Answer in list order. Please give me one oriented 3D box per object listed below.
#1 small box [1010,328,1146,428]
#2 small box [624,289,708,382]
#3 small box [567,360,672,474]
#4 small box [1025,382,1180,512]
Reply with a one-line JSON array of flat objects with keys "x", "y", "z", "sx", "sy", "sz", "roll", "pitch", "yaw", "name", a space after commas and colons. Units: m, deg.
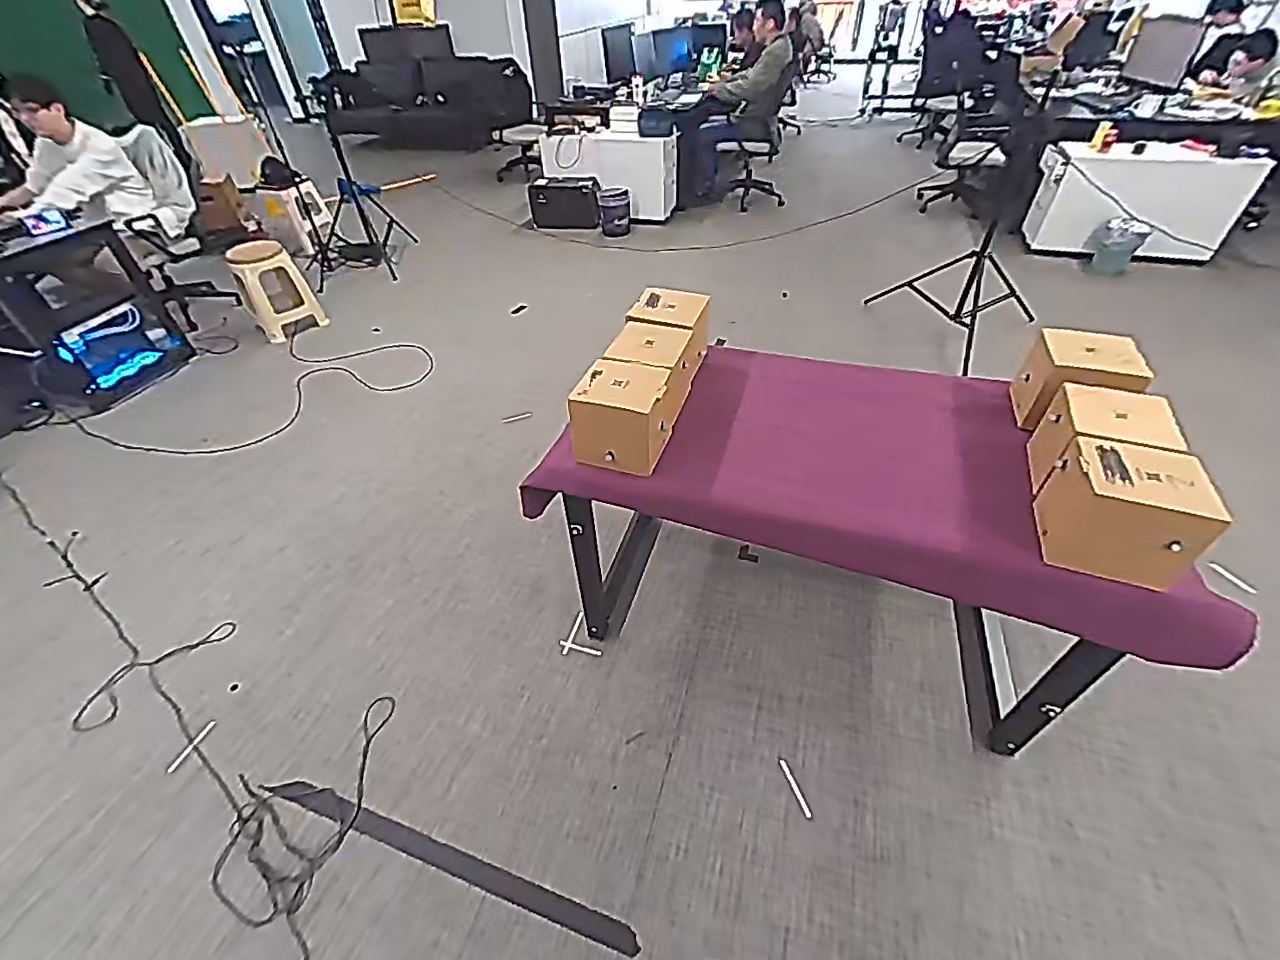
[{"x": 0.952, "y": -0.215, "z": 1.201, "sx": 0.179, "sy": 0.176, "sz": 0.168, "roll": 13, "pitch": 46, "yaw": 15, "name": "small box"}, {"x": 0.070, "y": -0.377, "z": 1.419, "sx": 0.179, "sy": 0.176, "sz": 0.168, "roll": 14, "pitch": 48, "yaw": 15, "name": "small box"}, {"x": -0.038, "y": -0.133, "z": 1.167, "sx": 0.179, "sy": 0.176, "sz": 0.168, "roll": 13, "pitch": 44, "yaw": 14, "name": "small box"}, {"x": 0.882, "y": -0.063, "z": 1.052, "sx": 0.168, "sy": 0.176, "sz": 0.179, "roll": 14, "pitch": 45, "yaw": 19, "name": "small box"}]
